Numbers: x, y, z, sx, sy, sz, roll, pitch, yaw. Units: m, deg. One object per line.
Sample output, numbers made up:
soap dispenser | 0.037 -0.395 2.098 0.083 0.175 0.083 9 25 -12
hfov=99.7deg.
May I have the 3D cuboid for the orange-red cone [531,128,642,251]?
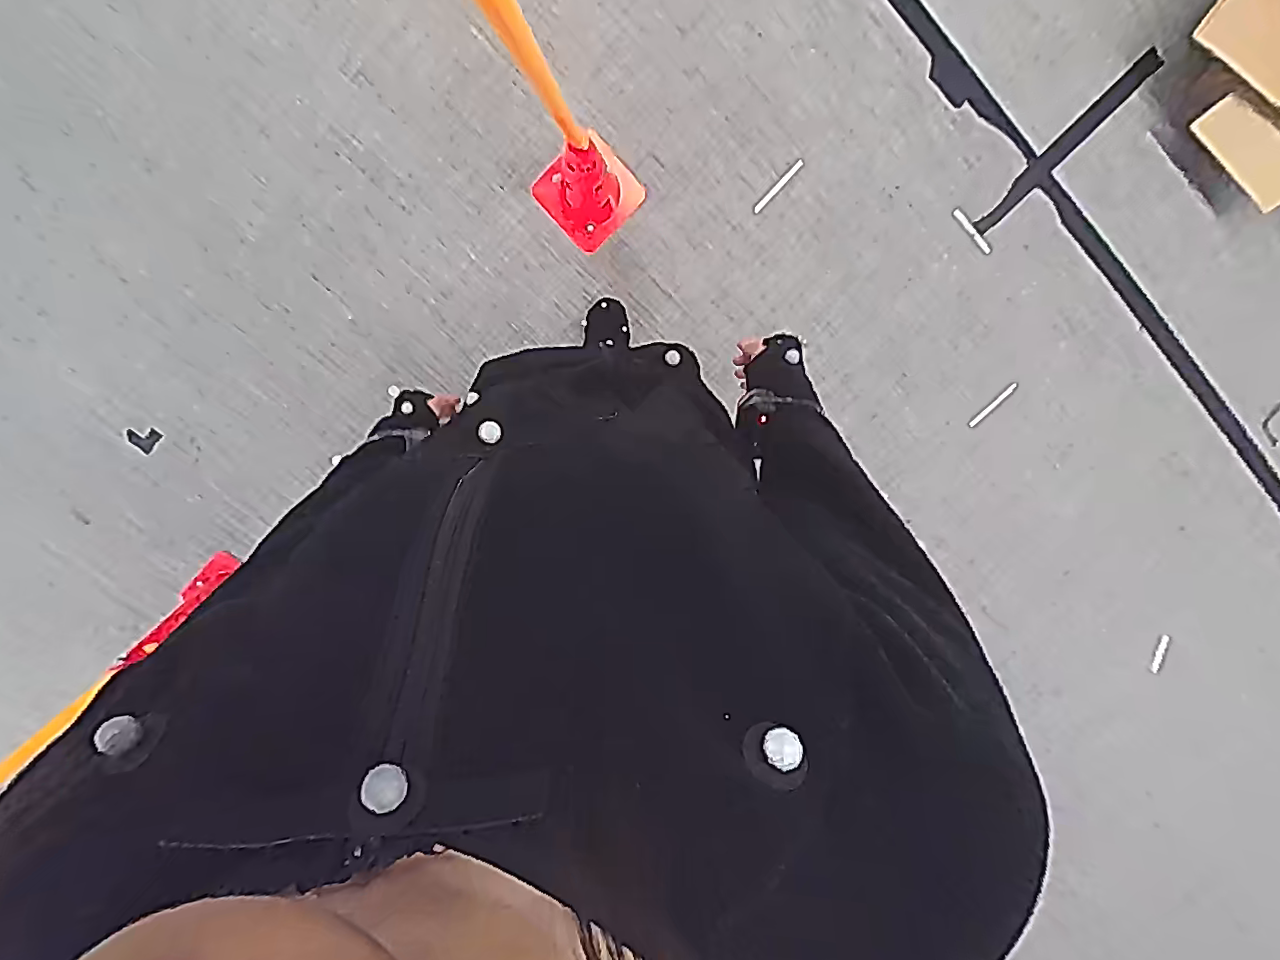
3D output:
orange-red cone | -0.112 -0.617 1.072 0.199 0.360 0.198 -42 103 8
